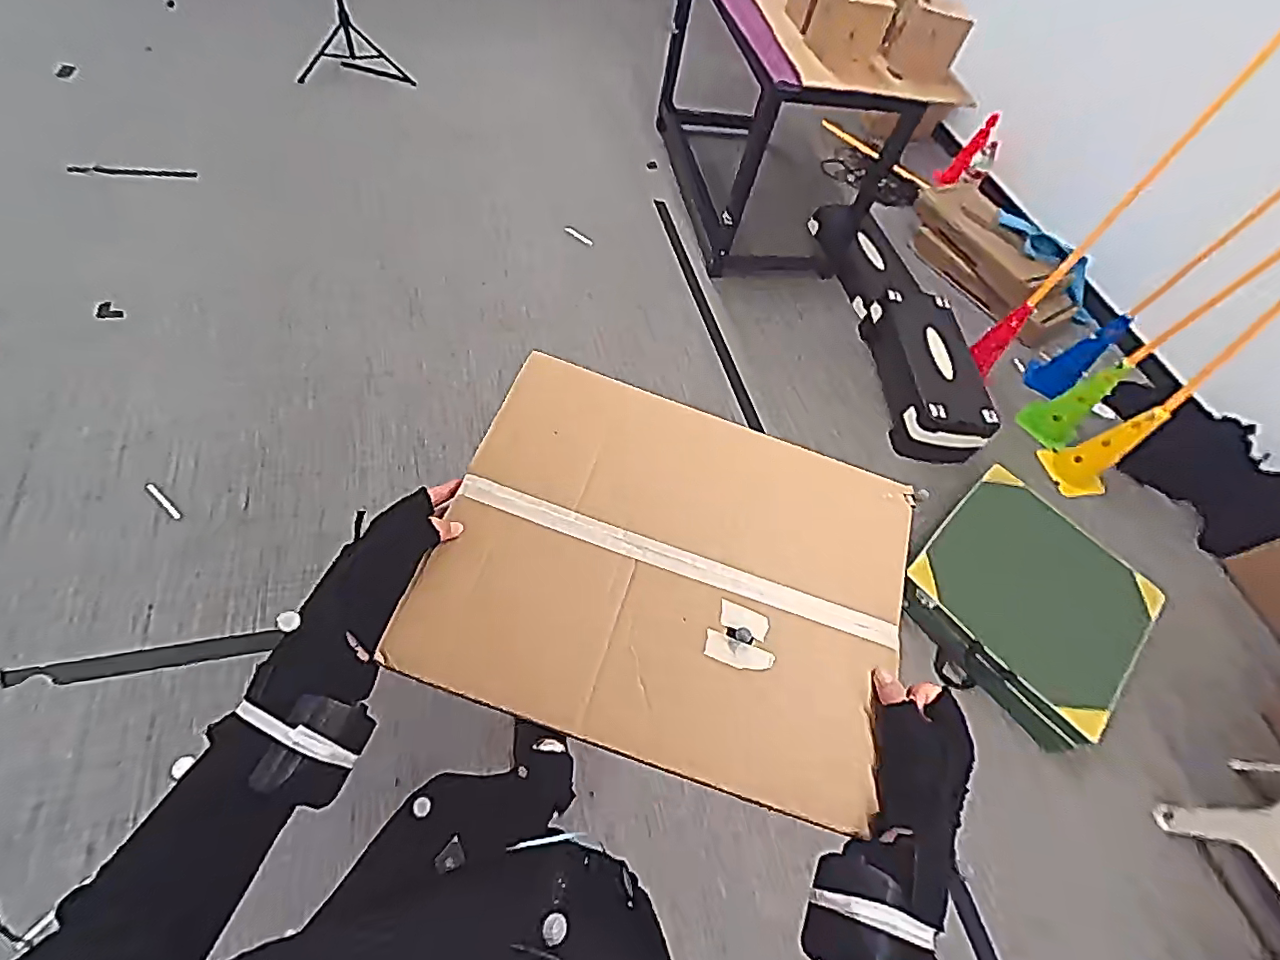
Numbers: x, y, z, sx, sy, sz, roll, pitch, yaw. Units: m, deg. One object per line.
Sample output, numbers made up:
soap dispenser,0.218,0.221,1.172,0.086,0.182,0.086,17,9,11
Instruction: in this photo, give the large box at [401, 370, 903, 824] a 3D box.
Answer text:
large box,0.016,0.140,0.623,0.408,0.320,0.320,21,65,0
